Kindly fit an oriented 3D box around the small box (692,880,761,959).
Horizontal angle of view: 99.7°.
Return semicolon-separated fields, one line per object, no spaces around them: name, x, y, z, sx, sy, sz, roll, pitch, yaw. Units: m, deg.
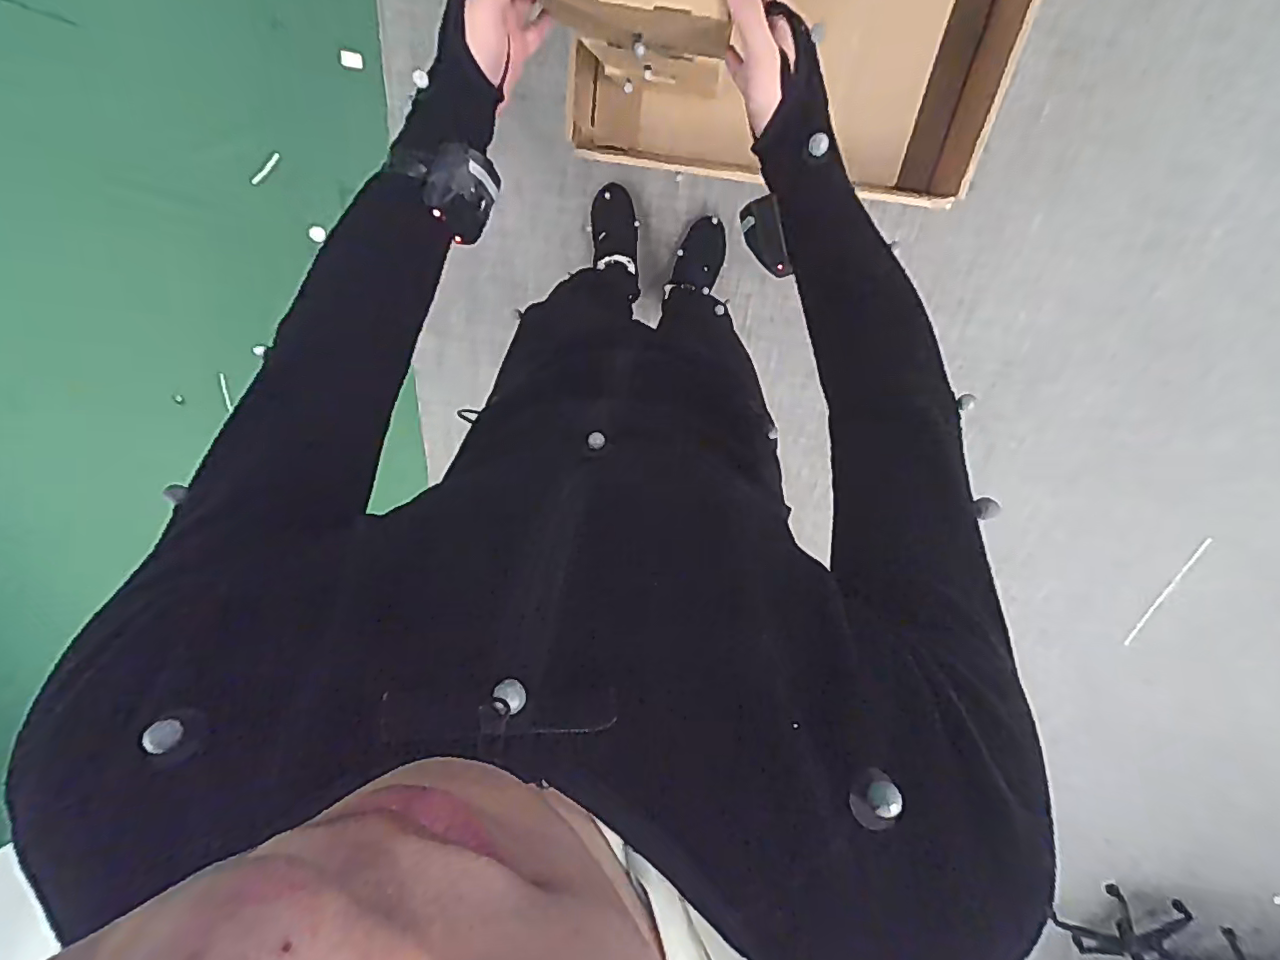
small box;0.251;1.321;1.591;0.168;0.176;0.179;8;121;2

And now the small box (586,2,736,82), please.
small box;0.035;-0.602;0.639;0.168;0.176;0.179;11;120;1

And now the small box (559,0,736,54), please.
small box;0.012;-0.486;0.442;0.168;0.176;0.179;11;120;2

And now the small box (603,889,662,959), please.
small box;-0.024;1.399;1.668;0.168;0.176;0.179;7;122;2
